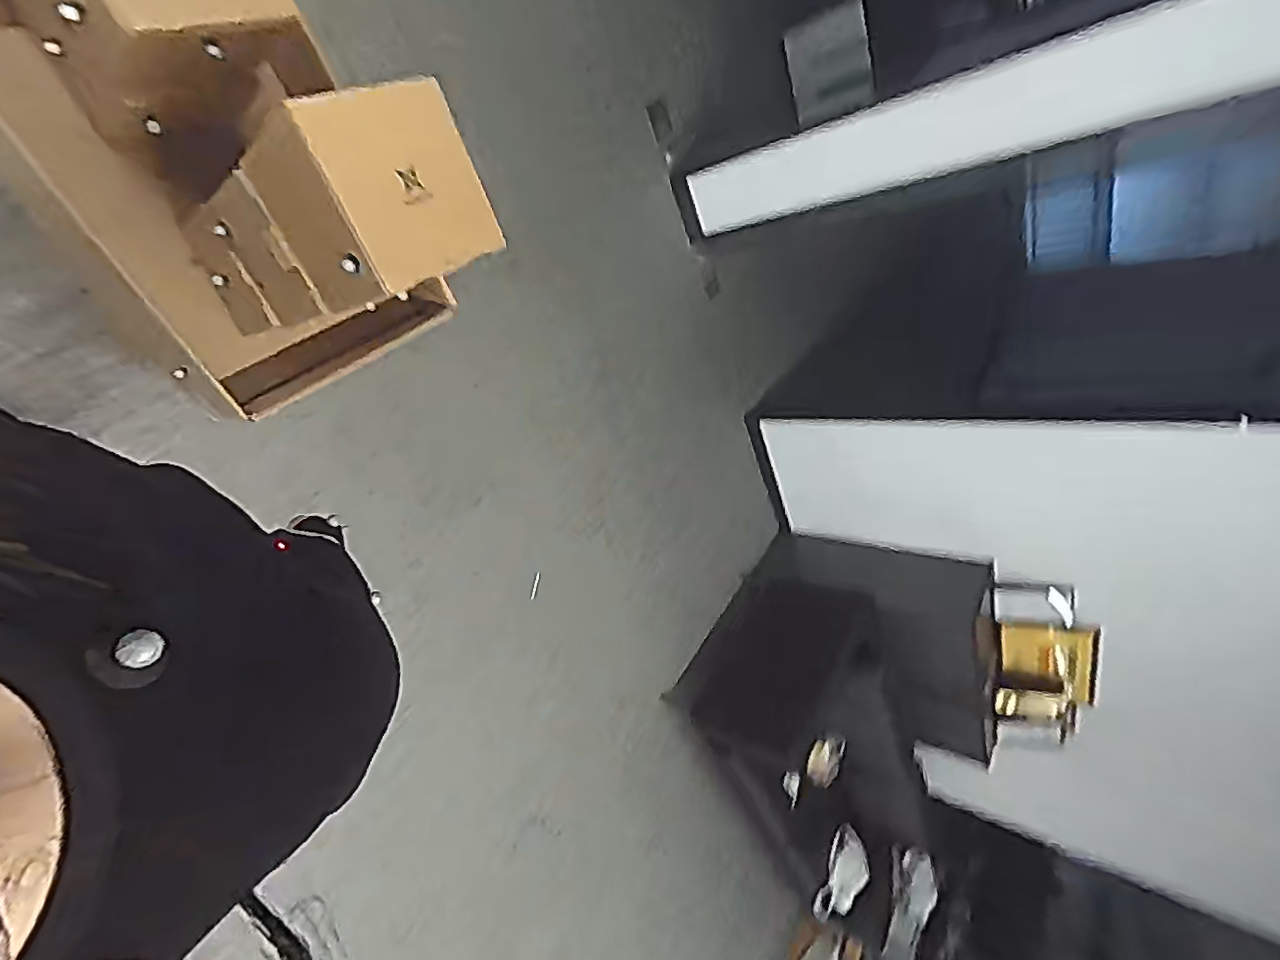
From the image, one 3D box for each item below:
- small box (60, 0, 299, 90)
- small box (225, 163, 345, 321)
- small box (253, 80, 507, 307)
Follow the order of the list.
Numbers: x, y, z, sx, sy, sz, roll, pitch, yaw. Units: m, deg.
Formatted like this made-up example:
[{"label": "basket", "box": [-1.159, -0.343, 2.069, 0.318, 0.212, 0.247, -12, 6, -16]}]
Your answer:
[{"label": "small box", "box": [-0.518, -0.549, 0.577, 0.179, 0.176, 0.168, -45, 127, -35]}, {"label": "small box", "box": [-0.414, -0.326, 0.726, 0.179, 0.176, 0.168, -43, 125, -37]}, {"label": "small box", "box": [-0.294, -0.316, 0.617, 0.168, 0.176, 0.179, -44, 127, -36]}]
